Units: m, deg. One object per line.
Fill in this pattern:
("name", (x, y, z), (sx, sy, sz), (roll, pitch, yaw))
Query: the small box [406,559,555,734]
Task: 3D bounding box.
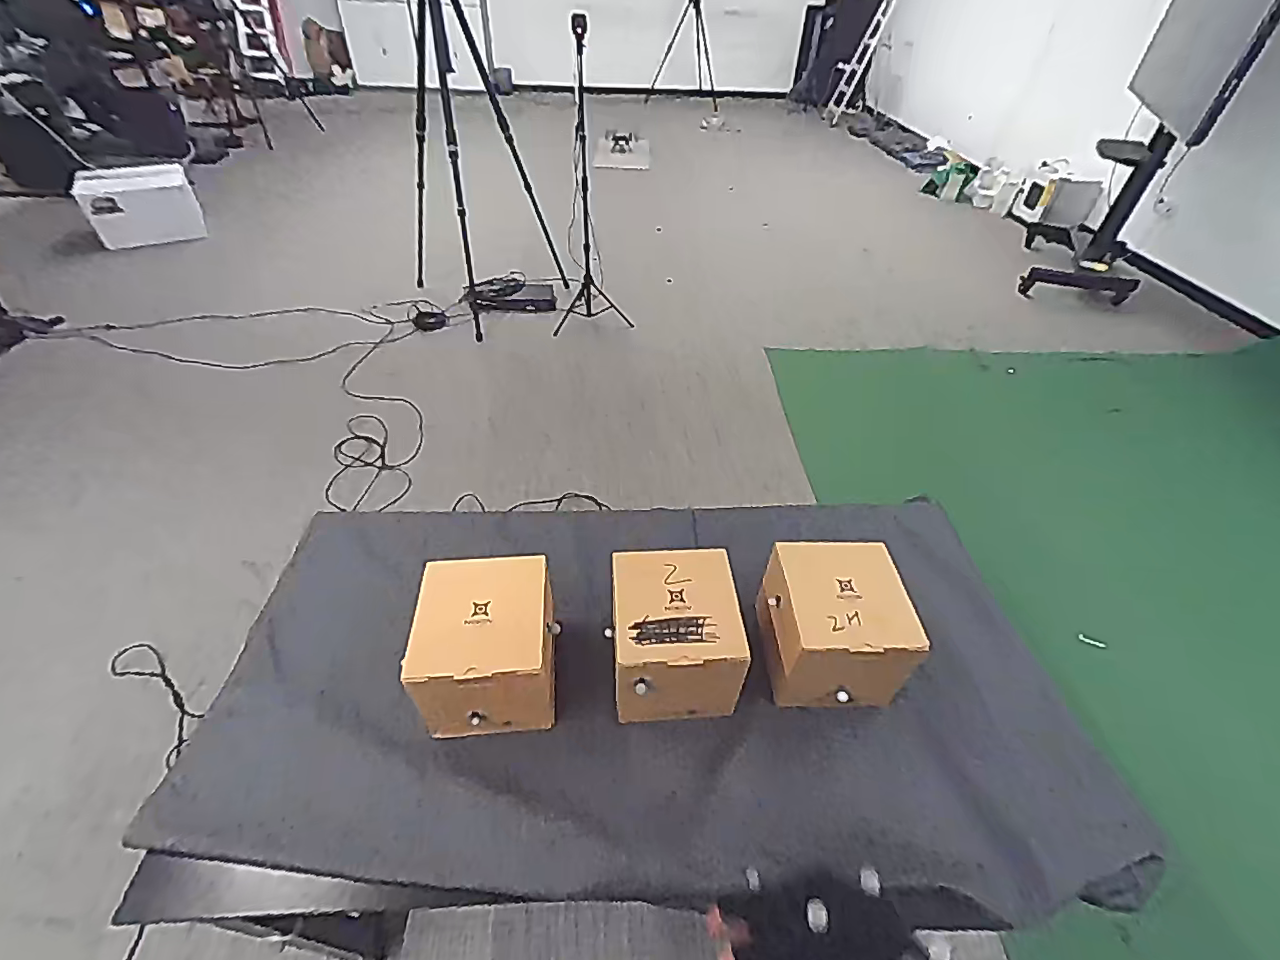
("small box", (-0.209, 0.232, 0.762), (0.168, 0.176, 0.179), (-2, 45, -6))
